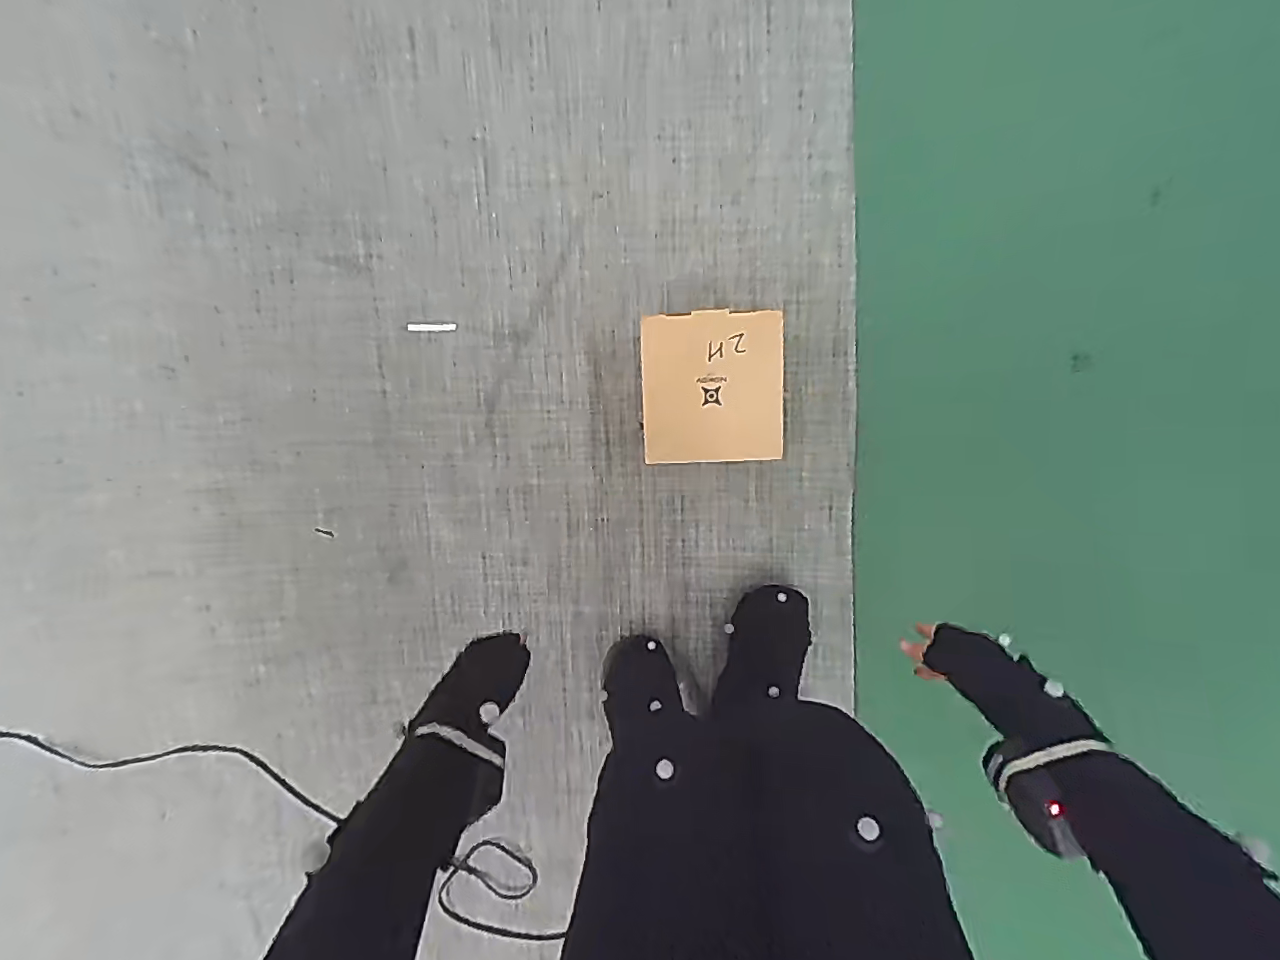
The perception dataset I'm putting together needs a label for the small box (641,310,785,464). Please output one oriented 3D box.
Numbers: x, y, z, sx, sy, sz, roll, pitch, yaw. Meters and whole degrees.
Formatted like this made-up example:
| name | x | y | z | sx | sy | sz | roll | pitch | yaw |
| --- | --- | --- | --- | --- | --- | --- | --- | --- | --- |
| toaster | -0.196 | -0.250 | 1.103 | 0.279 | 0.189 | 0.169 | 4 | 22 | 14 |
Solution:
| name | x | y | z | sx | sy | sz | roll | pitch | yaw |
| --- | --- | --- | --- | --- | --- | --- | --- | --- | --- |
| small box | 0.089 | -0.118 | 0.708 | 0.168 | 0.176 | 0.179 | -2 | 98 | 2 |
